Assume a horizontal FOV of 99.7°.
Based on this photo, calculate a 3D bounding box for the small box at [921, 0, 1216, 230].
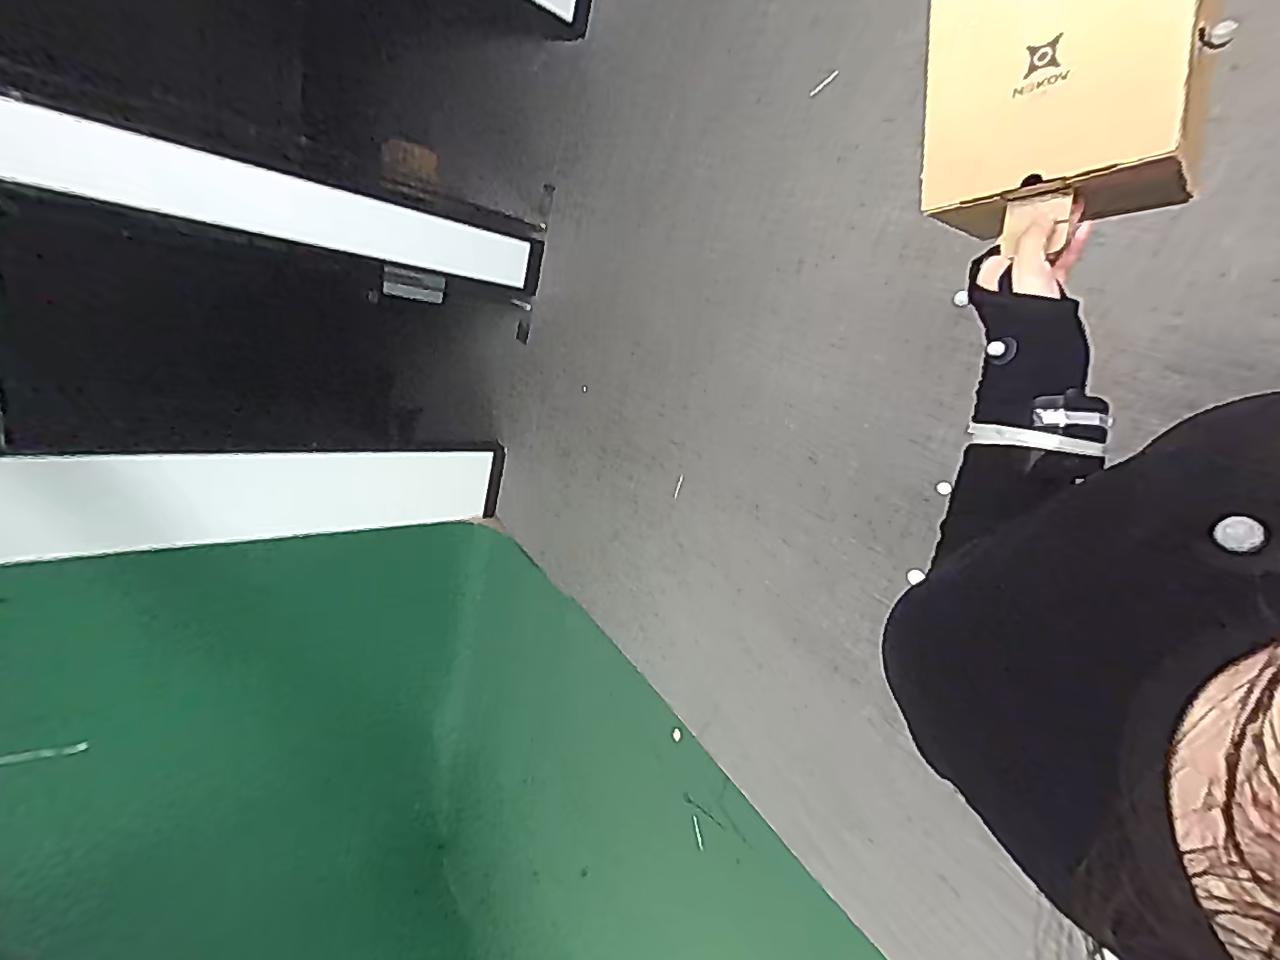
[{"bbox_3d":[0.362,-0.331,0.461,0.168,0.176,0.179,10,108,46],"label":"small box"}]
